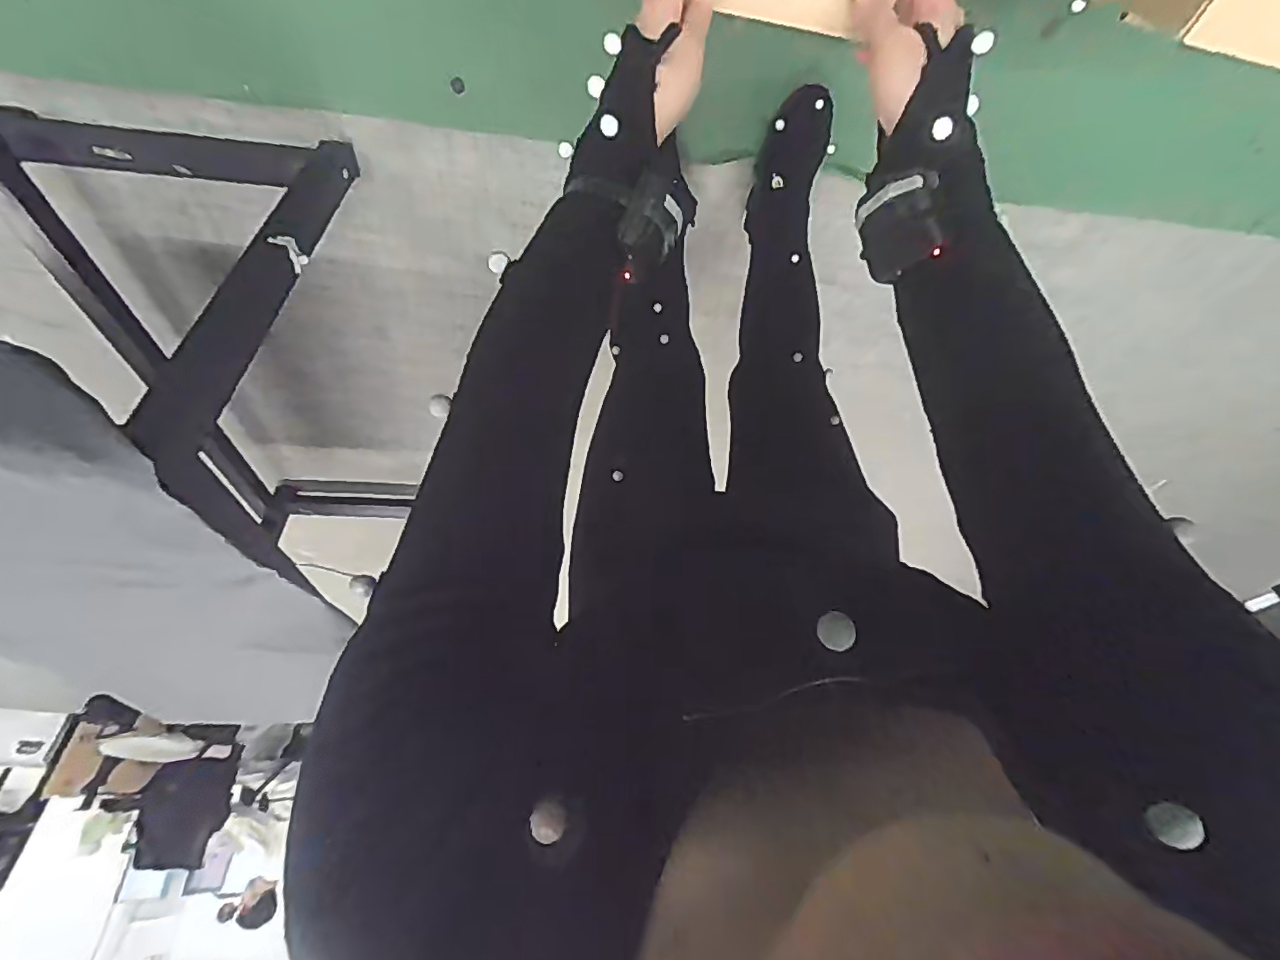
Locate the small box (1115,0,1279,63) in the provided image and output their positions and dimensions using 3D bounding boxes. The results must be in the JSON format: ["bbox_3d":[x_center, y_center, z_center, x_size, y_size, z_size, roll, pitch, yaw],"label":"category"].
[{"bbox_3d":[0.562,-0.484,0.461,0.179,0.176,0.168,6,143,-9],"label":"small box"}]

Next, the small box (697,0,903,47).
[{"bbox_3d":[0.125,-0.472,0.418,0.168,0.176,0.179,3,136,-10],"label":"small box"}]
